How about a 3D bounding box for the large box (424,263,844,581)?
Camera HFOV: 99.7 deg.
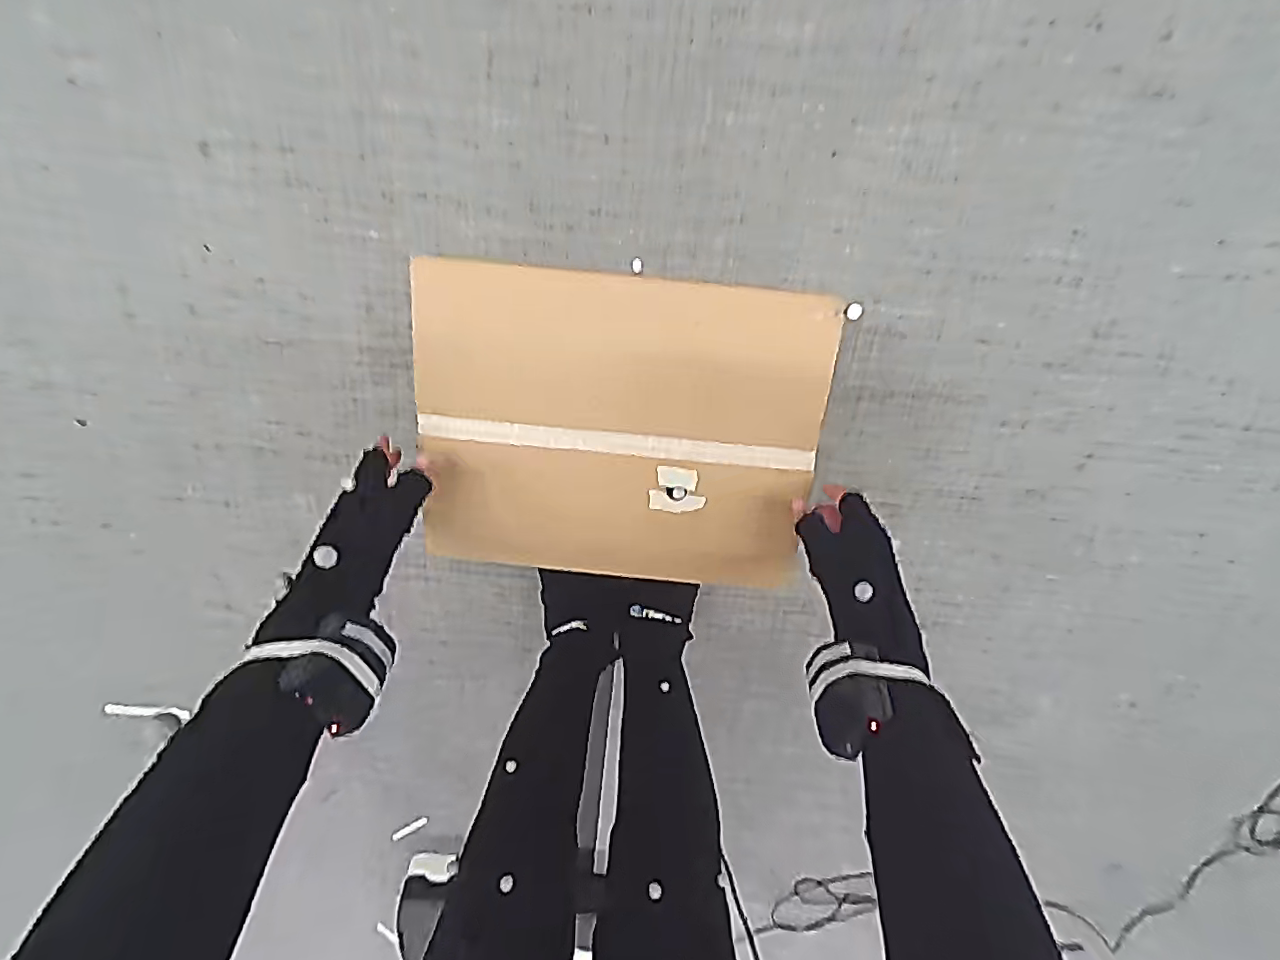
[{"bbox_3d":[-0.015,-0.093,0.696,0.408,0.320,0.320,5,111,0],"label":"large box"}]
